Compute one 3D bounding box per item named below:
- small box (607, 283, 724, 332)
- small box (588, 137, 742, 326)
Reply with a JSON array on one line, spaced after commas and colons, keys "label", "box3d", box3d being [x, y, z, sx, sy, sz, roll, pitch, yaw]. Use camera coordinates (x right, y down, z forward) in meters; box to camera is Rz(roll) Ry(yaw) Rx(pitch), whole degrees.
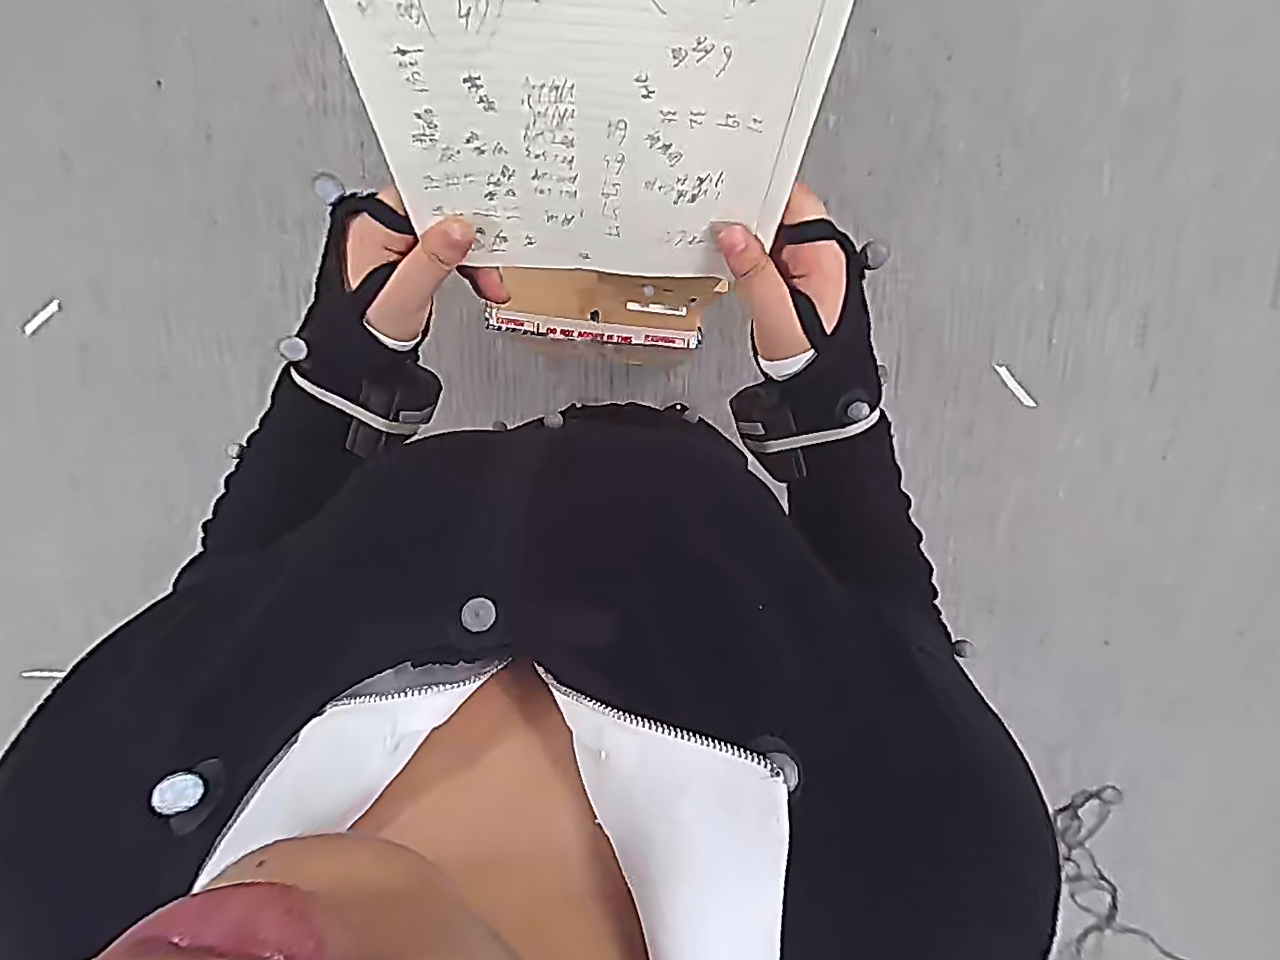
[{"label": "small box", "box3d": [0.039, -0.341, 0.887, 0.179, 0.176, 0.168, 4, 98, -2]}, {"label": "small box", "box3d": [0.025, -0.316, 0.724, 0.168, 0.176, 0.179, 8, 99, -4]}]
